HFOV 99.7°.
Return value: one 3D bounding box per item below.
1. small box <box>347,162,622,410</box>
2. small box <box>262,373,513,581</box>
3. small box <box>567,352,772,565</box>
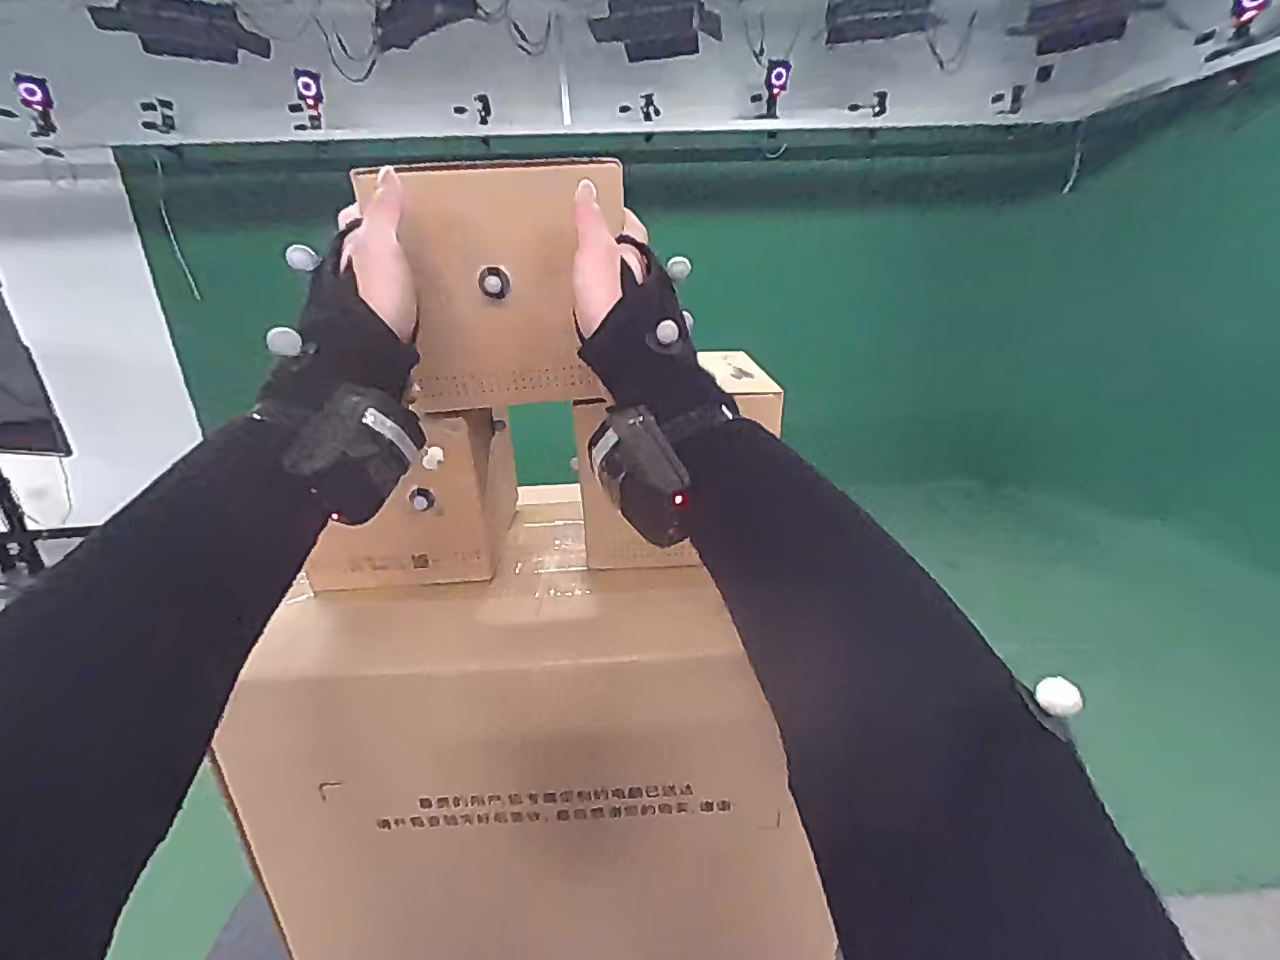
[{"bbox_3d":[-0.108,-0.169,0.458,0.179,0.176,0.168,-6,30,-5],"label":"small box"},{"bbox_3d":[-0.227,-0.009,0.544,0.168,0.176,0.179,-2,22,-3],"label":"small box"},{"bbox_3d":[0.029,-0.026,0.552,0.179,0.176,0.168,-4,25,-1],"label":"small box"}]
